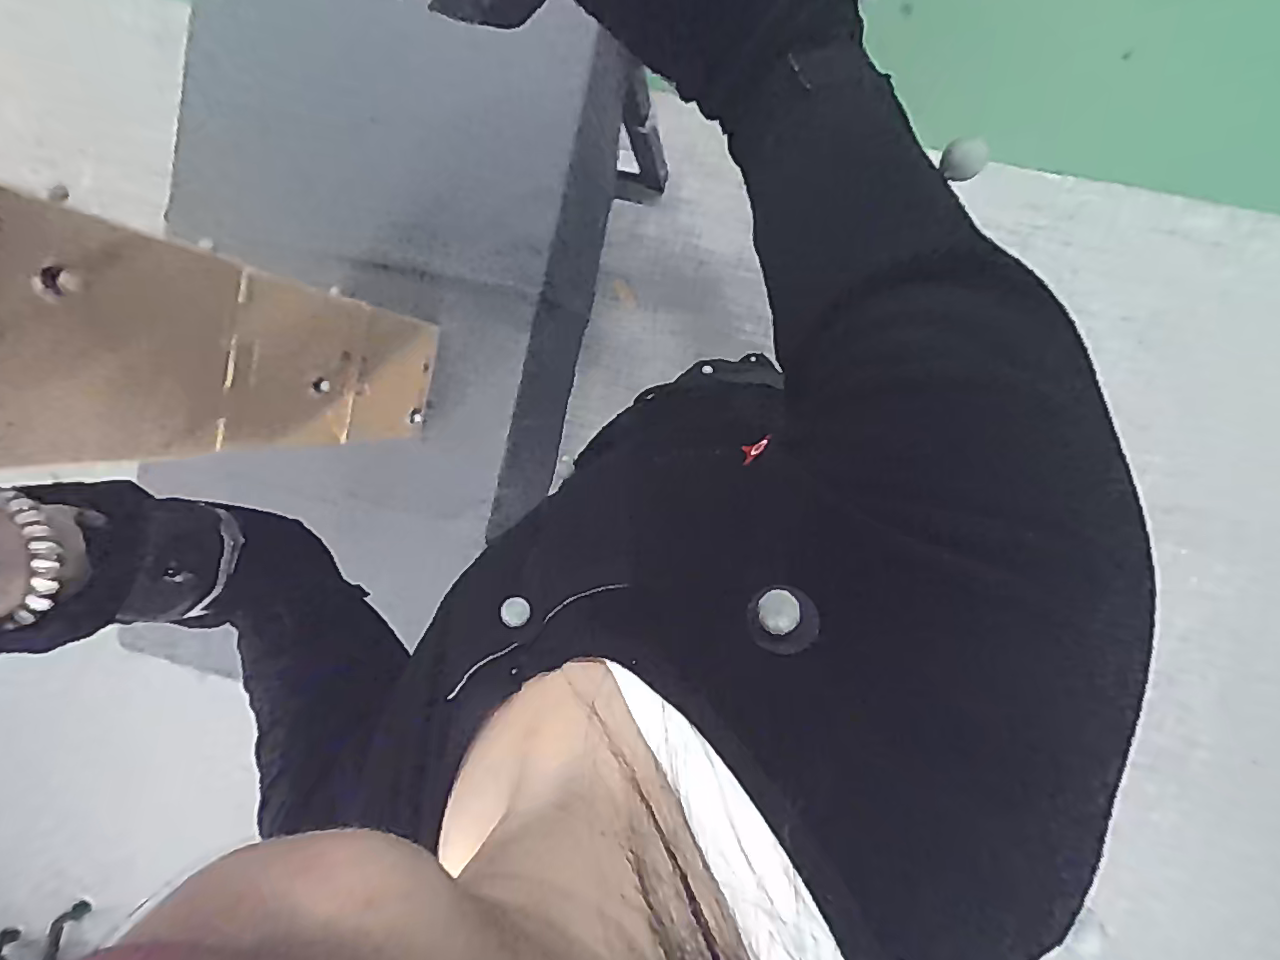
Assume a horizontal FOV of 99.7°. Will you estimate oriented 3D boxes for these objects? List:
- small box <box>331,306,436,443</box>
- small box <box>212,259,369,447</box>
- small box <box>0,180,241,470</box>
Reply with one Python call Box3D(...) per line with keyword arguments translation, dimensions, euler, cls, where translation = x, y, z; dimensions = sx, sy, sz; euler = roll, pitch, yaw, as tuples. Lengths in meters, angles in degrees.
Box3D(translation=(-0.403, -0.155, 0.729), dimensions=(0.179, 0.176, 0.168), euler=(15, 99, 8), cls="small box")
Box3D(translation=(-0.427, -0.136, 0.570), dimensions=(0.179, 0.176, 0.168), euler=(15, 99, 7), cls="small box")
Box3D(translation=(-0.449, -0.118, 0.408), dimensions=(0.168, 0.176, 0.179), euler=(17, 99, 7), cls="small box")
